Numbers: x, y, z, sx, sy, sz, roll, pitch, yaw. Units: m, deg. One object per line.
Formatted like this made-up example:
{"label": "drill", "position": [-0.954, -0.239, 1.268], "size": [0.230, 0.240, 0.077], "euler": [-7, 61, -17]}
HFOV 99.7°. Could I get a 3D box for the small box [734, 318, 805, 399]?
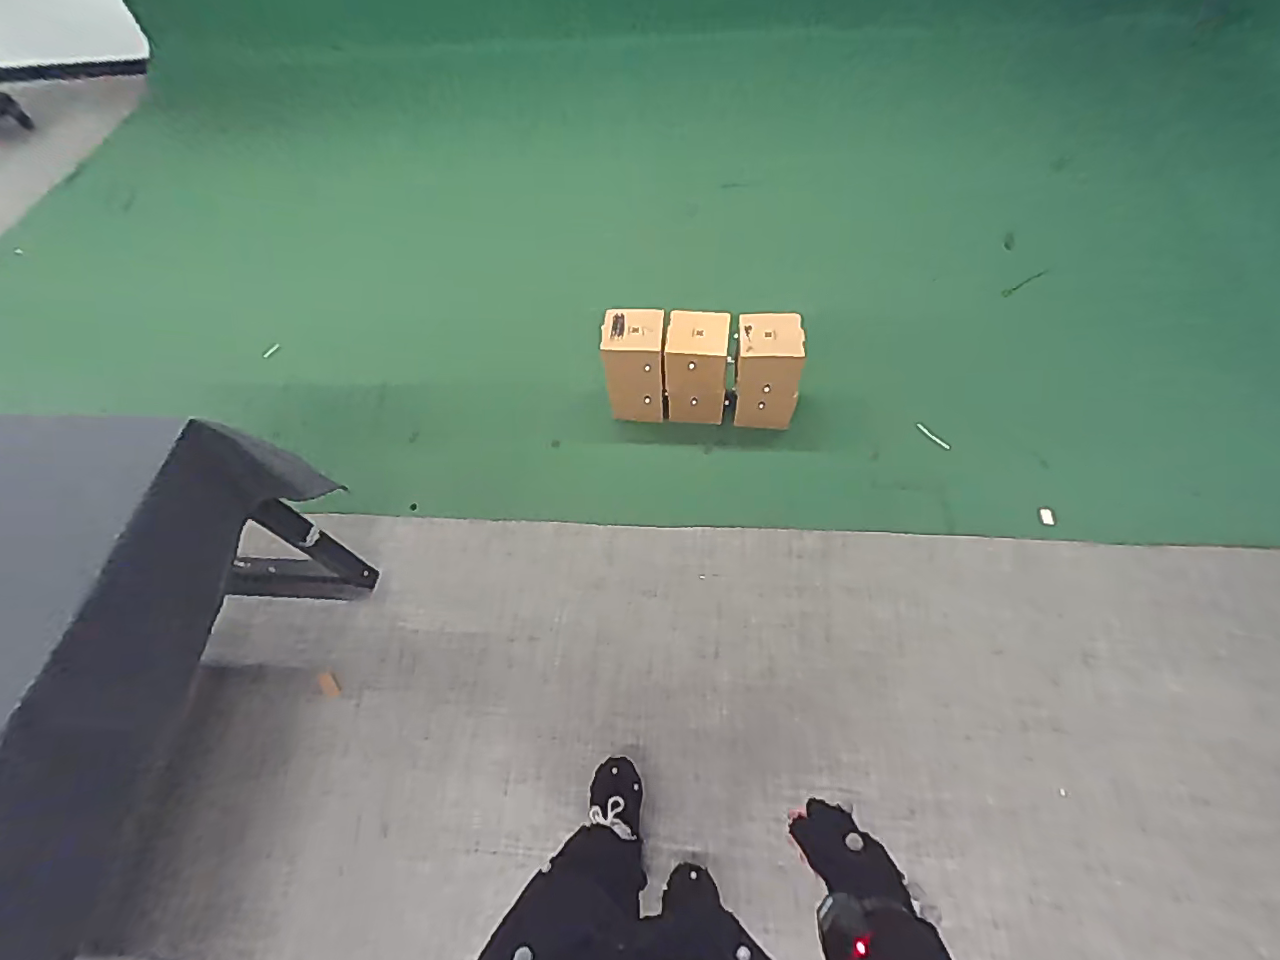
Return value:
{"label": "small box", "position": [0.372, -0.351, 1.584], "size": [0.179, 0.176, 0.168], "euler": [2, 59, 5]}
